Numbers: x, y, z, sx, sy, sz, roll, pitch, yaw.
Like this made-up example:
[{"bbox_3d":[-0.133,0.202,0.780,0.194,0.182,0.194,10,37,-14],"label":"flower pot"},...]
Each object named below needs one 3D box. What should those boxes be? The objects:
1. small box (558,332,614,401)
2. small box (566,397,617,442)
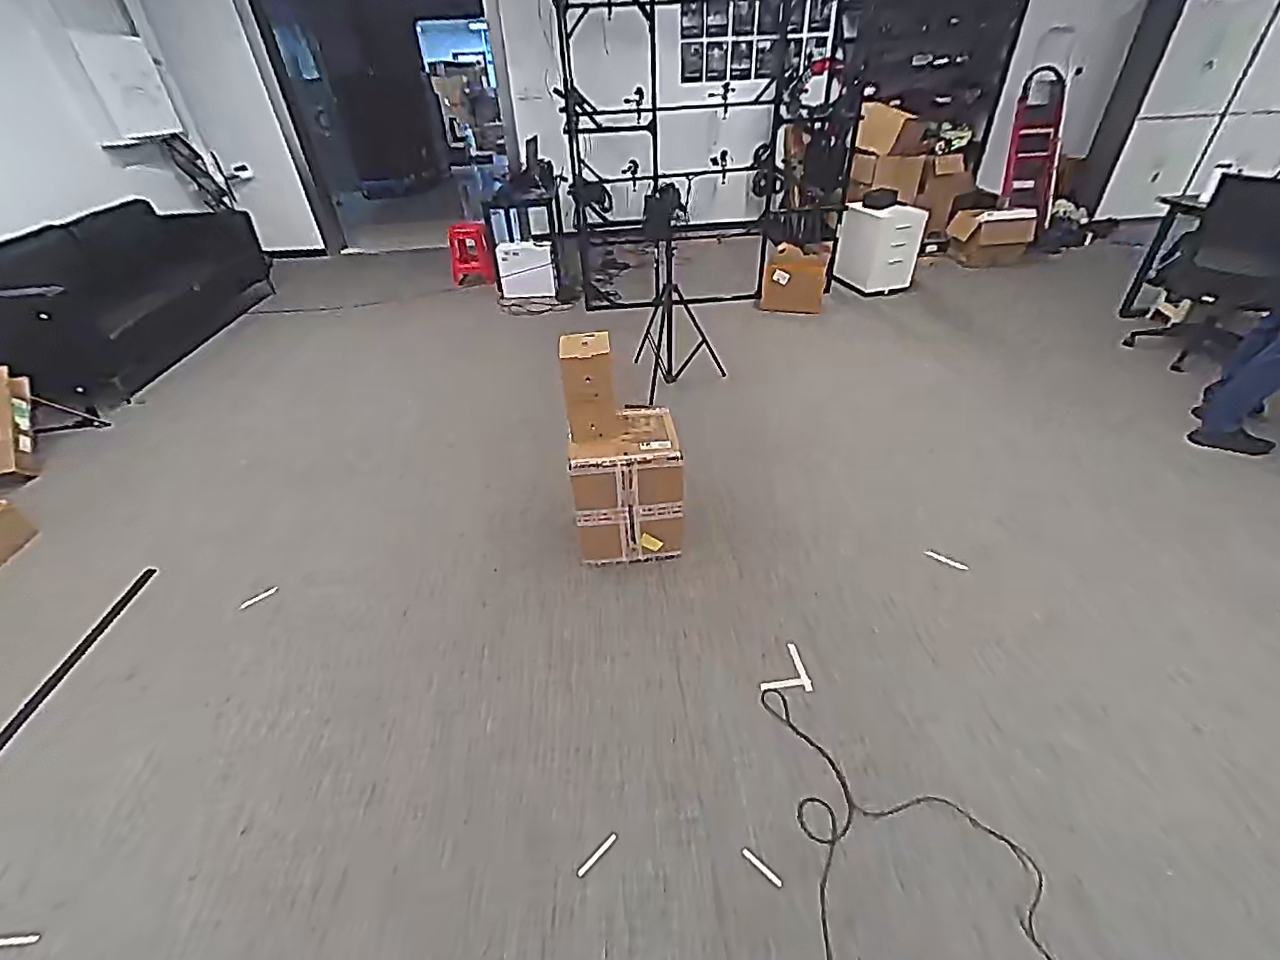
[{"bbox_3d":[-0.180,-0.381,1.840,0.168,0.176,0.179,-6,40,-1],"label":"small box"},{"bbox_3d":[-0.175,-0.259,1.950,0.168,0.176,0.179,-8,39,-2],"label":"small box"}]
